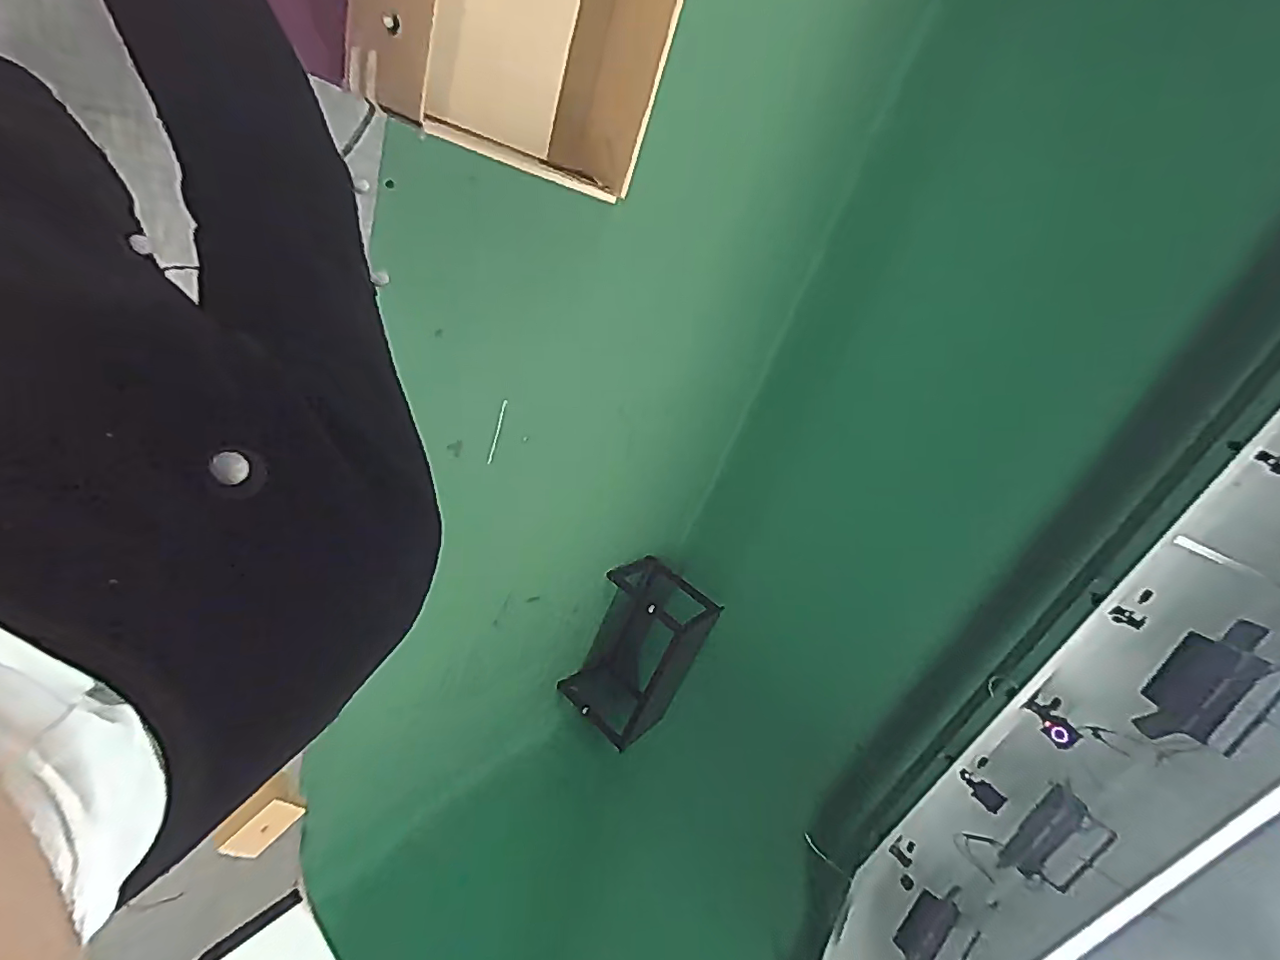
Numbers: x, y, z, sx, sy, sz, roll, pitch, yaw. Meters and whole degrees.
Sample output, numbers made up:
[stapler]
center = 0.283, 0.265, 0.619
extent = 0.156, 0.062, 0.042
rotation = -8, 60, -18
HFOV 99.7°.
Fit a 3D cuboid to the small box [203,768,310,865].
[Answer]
[small box]
center = -1.123, 0.985, 1.588
extent = 0.168, 0.176, 0.179
rotation = -42, 148, -28
